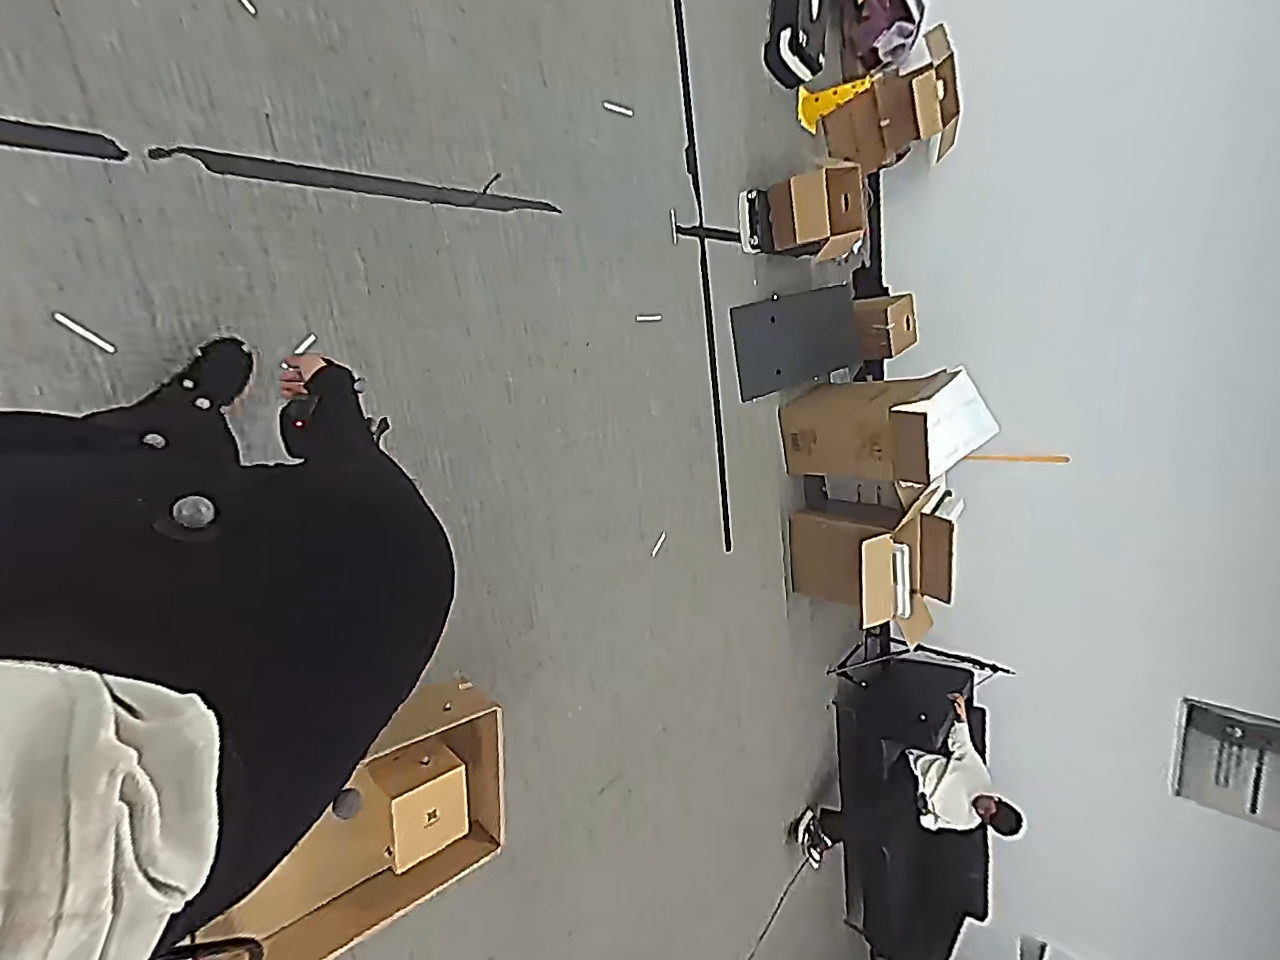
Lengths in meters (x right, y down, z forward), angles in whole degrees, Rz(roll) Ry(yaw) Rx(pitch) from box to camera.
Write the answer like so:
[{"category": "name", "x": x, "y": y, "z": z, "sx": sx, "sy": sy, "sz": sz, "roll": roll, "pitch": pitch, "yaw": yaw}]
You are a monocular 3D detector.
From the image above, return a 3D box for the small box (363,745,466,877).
[{"category": "small box", "x": -0.515, "y": 0.736, "z": 1.233, "sx": 0.168, "sy": 0.176, "sz": 0.179, "roll": -8, "pitch": 102, "yaw": -44}]
